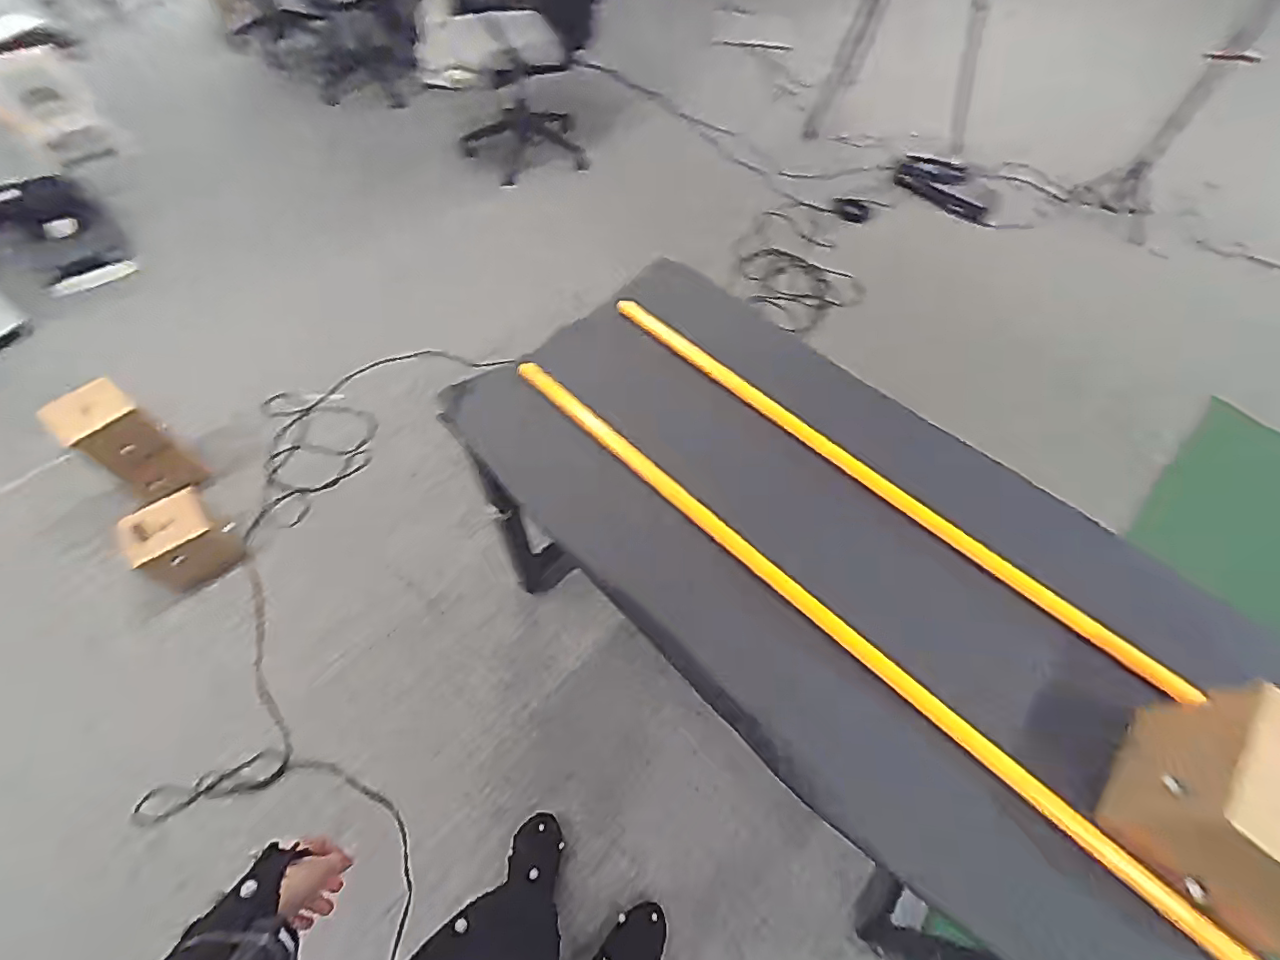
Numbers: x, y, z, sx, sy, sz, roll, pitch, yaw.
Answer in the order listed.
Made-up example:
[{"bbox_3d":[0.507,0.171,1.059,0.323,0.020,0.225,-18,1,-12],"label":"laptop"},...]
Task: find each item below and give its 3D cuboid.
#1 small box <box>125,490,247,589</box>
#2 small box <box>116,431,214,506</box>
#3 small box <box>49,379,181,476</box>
[{"bbox_3d":[-1.230,0.168,1.474,0.179,0.176,0.168,-34,64,-22],"label":"small box"},{"bbox_3d":[-1.425,-0.046,1.605,0.179,0.176,0.168,37,63,20],"label":"small box"},{"bbox_3d":[-1.410,-0.134,1.467,0.179,0.176,0.168,36,62,20],"label":"small box"}]
